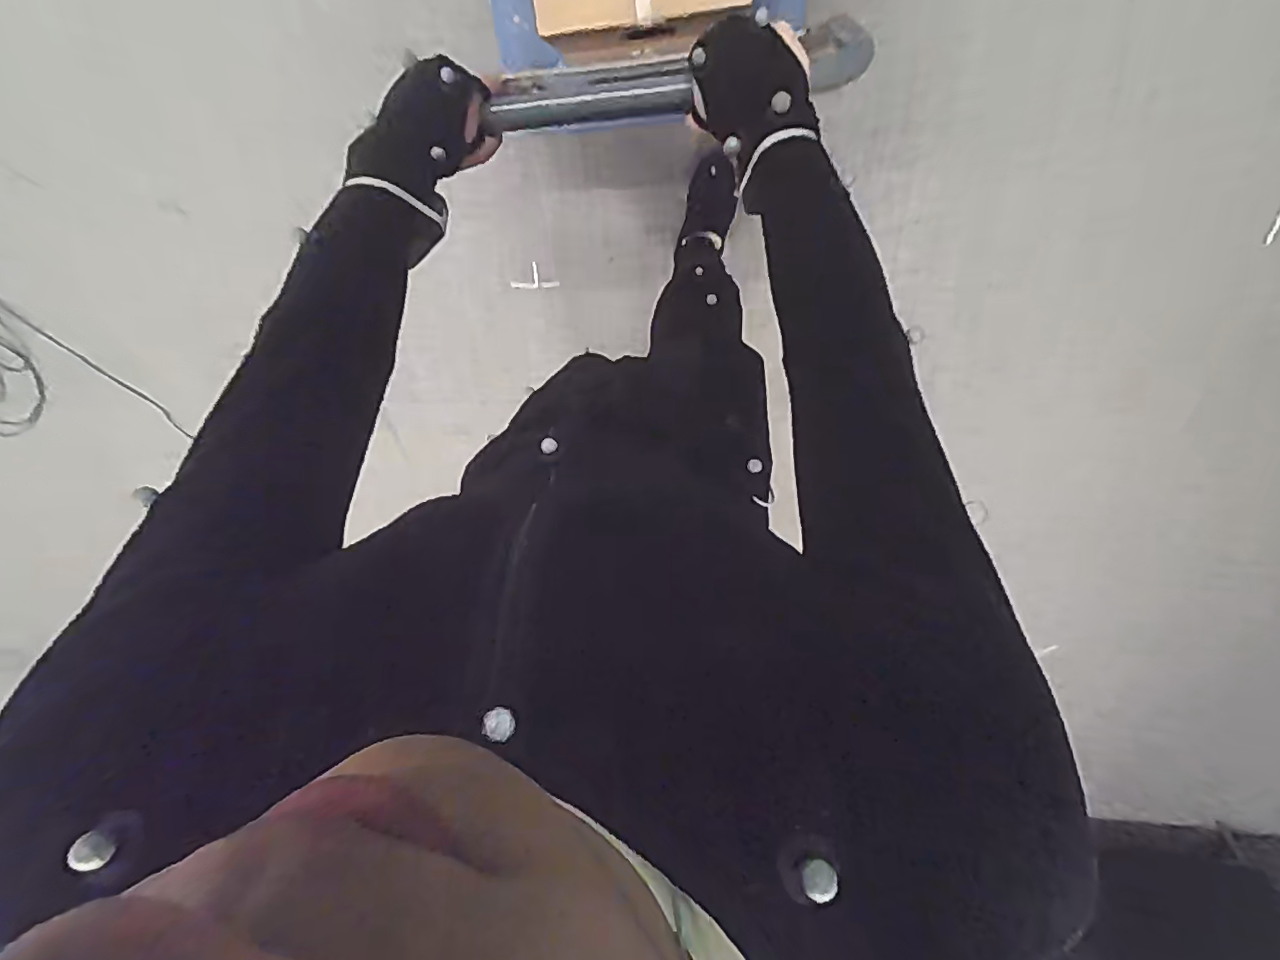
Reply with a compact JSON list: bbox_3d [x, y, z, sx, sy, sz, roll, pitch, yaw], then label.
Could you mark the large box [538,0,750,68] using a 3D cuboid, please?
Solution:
[{"bbox_3d":[0.003,-0.915,0.819,0.320,0.320,0.408,-2,120,7],"label":"large box"}]
